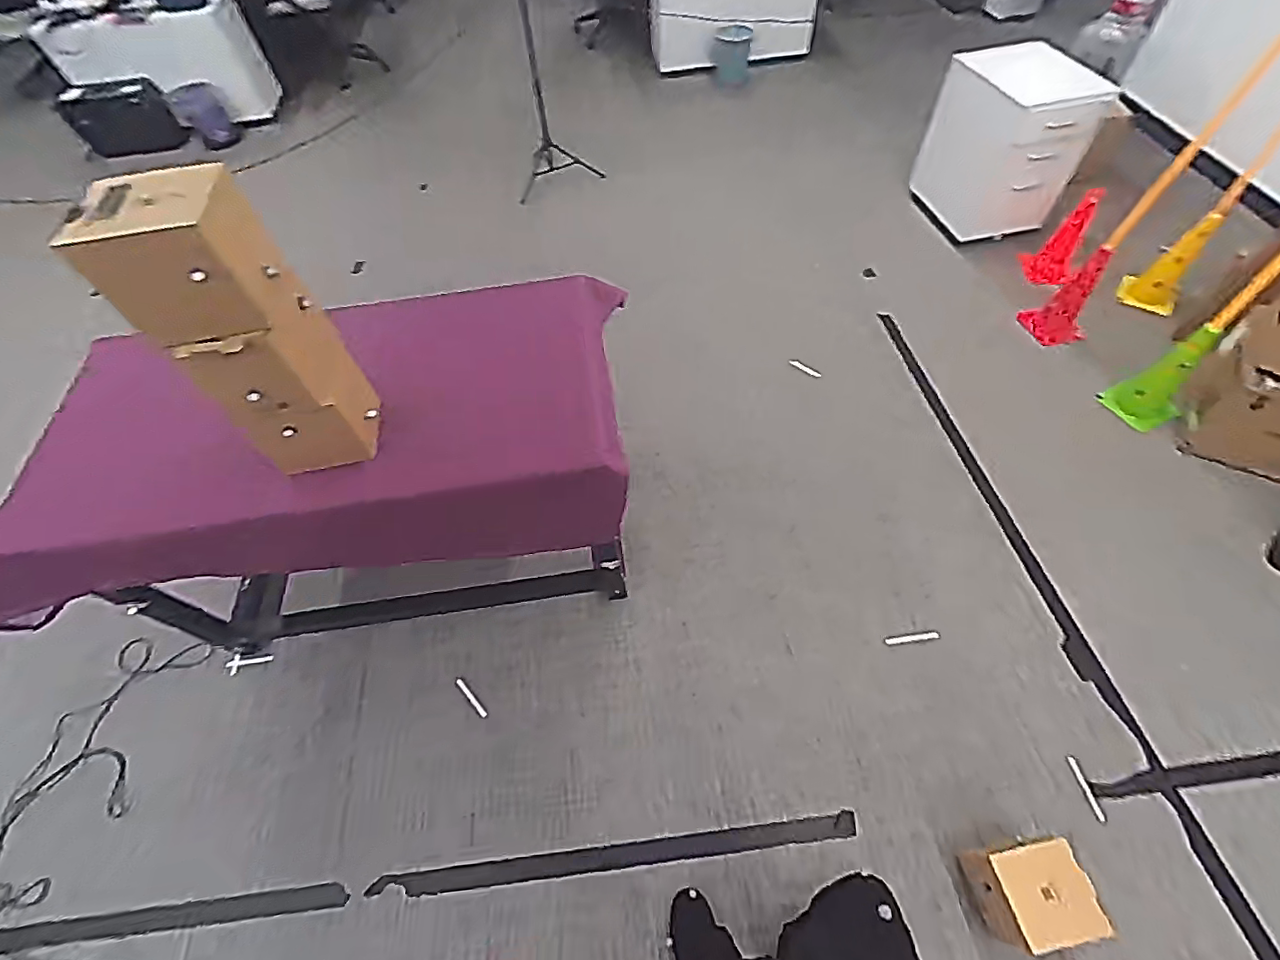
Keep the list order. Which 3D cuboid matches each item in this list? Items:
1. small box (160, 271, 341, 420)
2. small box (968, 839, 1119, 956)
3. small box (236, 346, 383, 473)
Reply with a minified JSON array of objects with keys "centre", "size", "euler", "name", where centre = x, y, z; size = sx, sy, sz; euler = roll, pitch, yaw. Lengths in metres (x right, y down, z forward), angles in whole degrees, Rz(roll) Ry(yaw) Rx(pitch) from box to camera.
[{"centre":[-0.643,-0.227,0.923],"size":[0.168,0.176,0.179],"euler":[-7,56,0],"name":"small box"},{"centre":[0.842,0.884,1.158],"size":[0.179,0.176,0.168],"euler":[-11,57,-4],"name":"small box"},{"centre":[-0.633,-0.132,1.057],"size":[0.179,0.176,0.168],"euler":[-11,56,-4],"name":"small box"}]
